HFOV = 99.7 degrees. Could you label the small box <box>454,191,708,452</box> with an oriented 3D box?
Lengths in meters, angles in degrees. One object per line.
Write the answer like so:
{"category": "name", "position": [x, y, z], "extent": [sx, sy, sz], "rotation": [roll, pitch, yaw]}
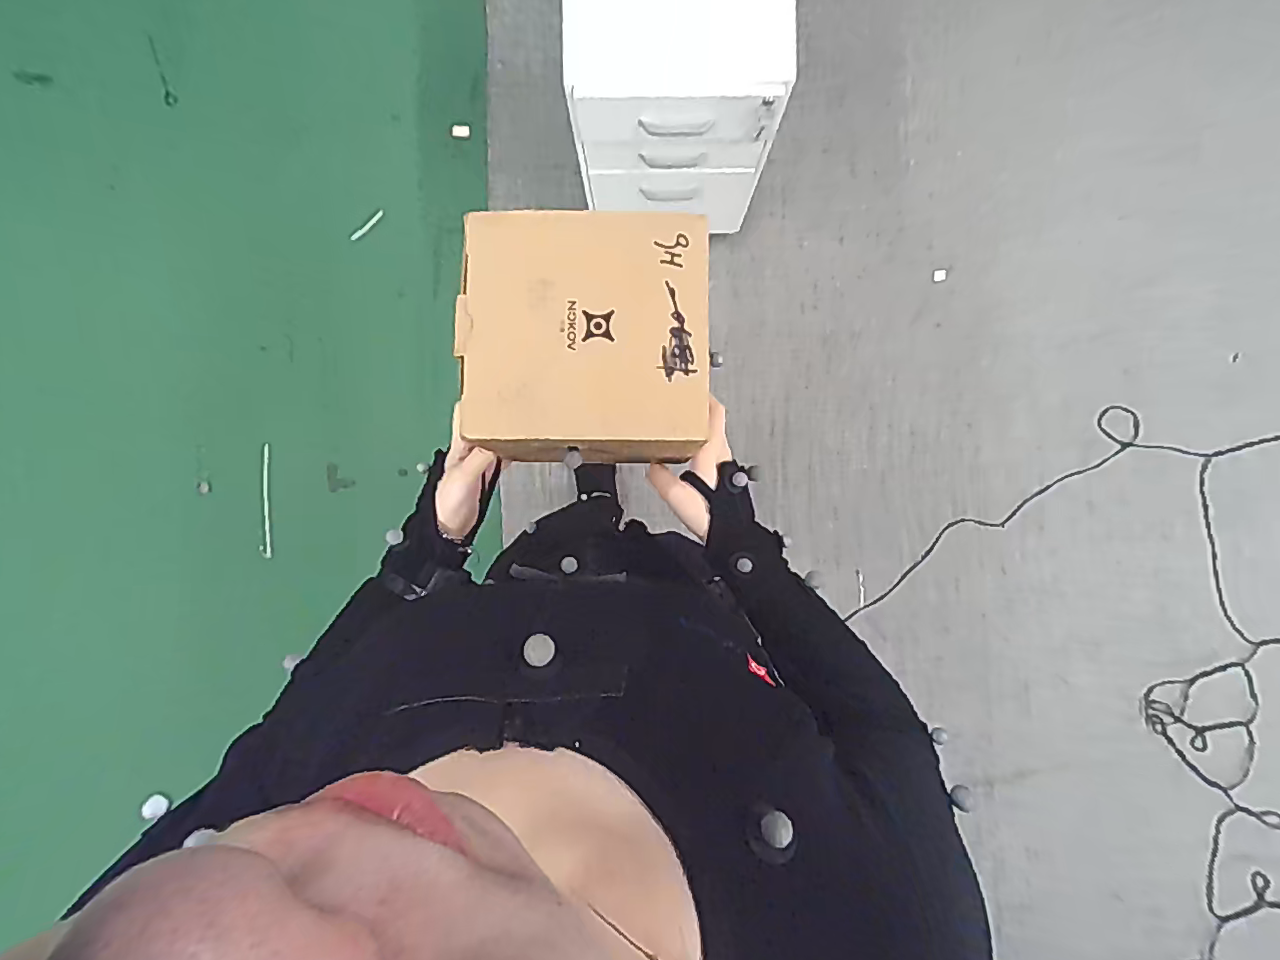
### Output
{"category": "small box", "position": [-0.040, -0.116, 0.460], "extent": [0.179, 0.176, 0.168], "rotation": [1, 85, -1]}
